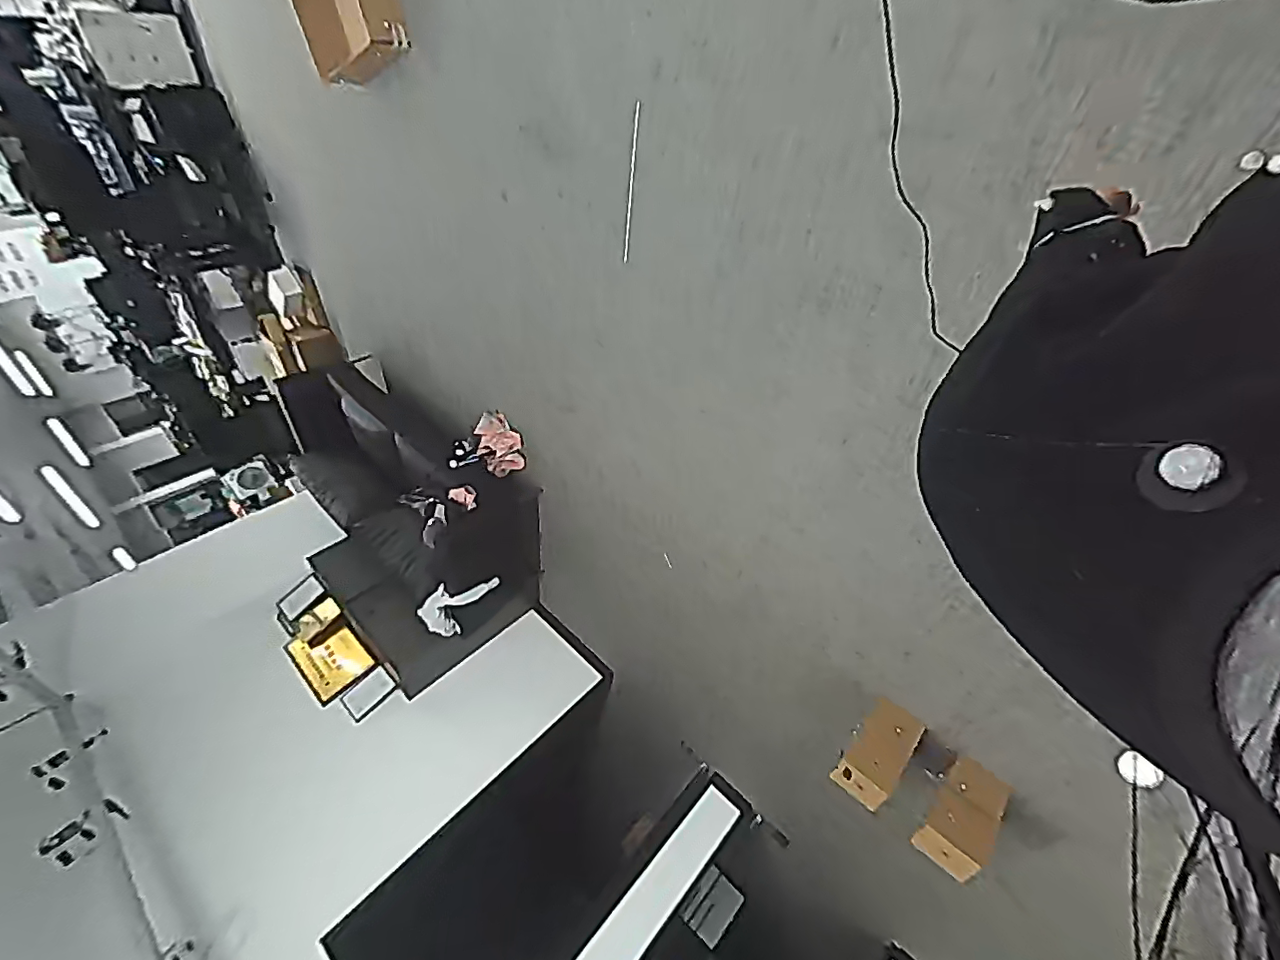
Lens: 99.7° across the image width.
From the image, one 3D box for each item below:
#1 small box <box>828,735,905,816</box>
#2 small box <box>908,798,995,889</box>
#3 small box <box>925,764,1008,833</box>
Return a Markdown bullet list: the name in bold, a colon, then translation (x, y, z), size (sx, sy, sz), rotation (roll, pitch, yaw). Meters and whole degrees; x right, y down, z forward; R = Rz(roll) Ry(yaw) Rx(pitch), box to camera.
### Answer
- **small box**: translation (0.819, 1.059, 1.955), size (0.179, 0.176, 0.168), rotation (34, 137, 28)
- **small box**: translation (1.040, 1.202, 1.807), size (0.179, 0.176, 0.168), rotation (32, 137, 29)
- **small box**: translation (1.153, 1.142, 1.910), size (0.179, 0.176, 0.168), rotation (33, 137, 29)
